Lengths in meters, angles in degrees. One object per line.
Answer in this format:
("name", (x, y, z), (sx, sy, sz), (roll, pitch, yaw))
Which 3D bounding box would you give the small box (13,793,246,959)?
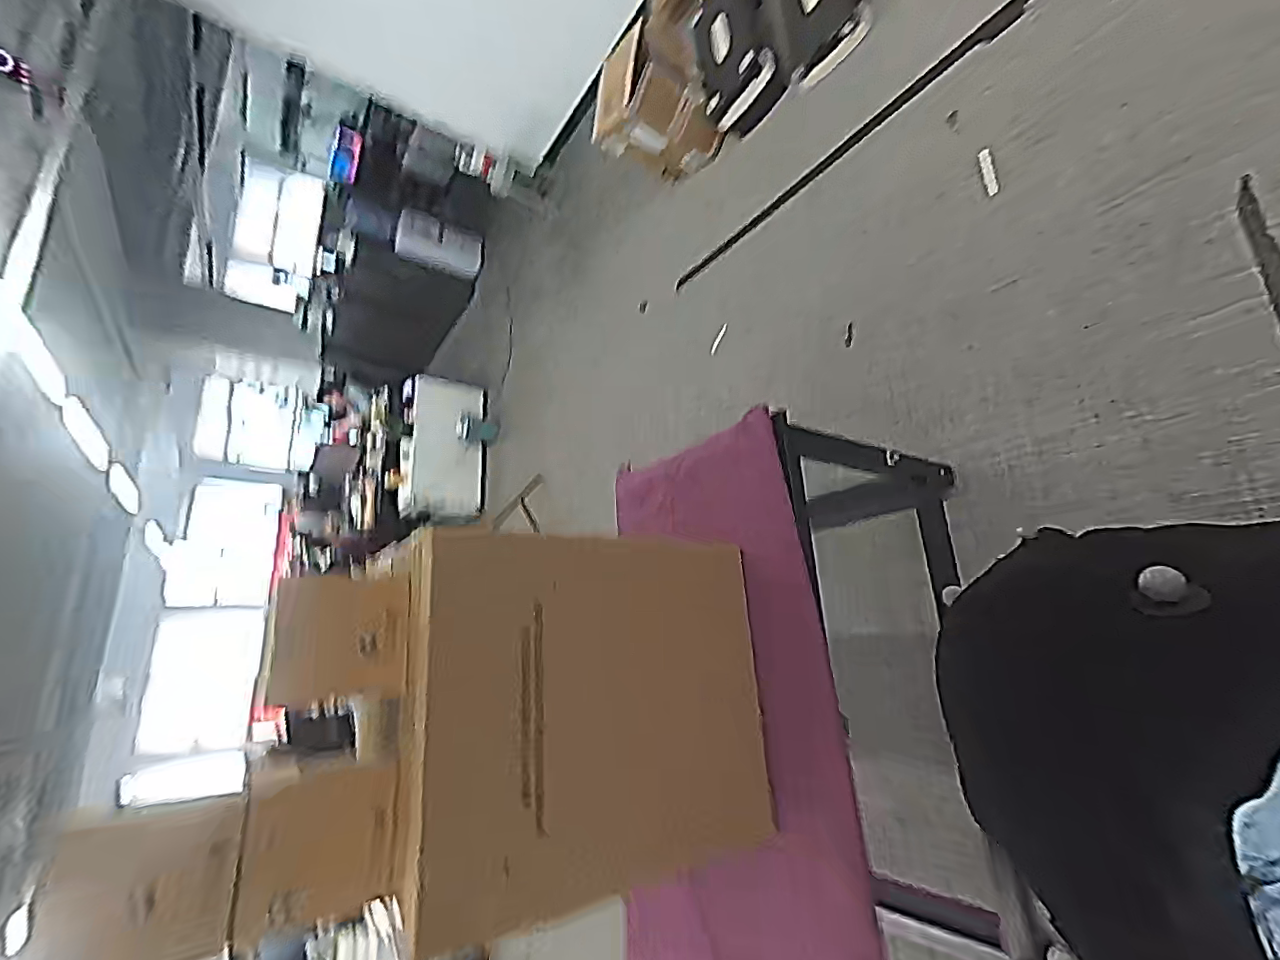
("small box", (-0.564, 0.468, 0.616), (0.179, 0.176, 0.168), (-32, 56, 48))

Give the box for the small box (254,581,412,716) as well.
("small box", (-0.446, 0.244, 0.788), (0.179, 0.176, 0.168), (-29, 61, 48))
